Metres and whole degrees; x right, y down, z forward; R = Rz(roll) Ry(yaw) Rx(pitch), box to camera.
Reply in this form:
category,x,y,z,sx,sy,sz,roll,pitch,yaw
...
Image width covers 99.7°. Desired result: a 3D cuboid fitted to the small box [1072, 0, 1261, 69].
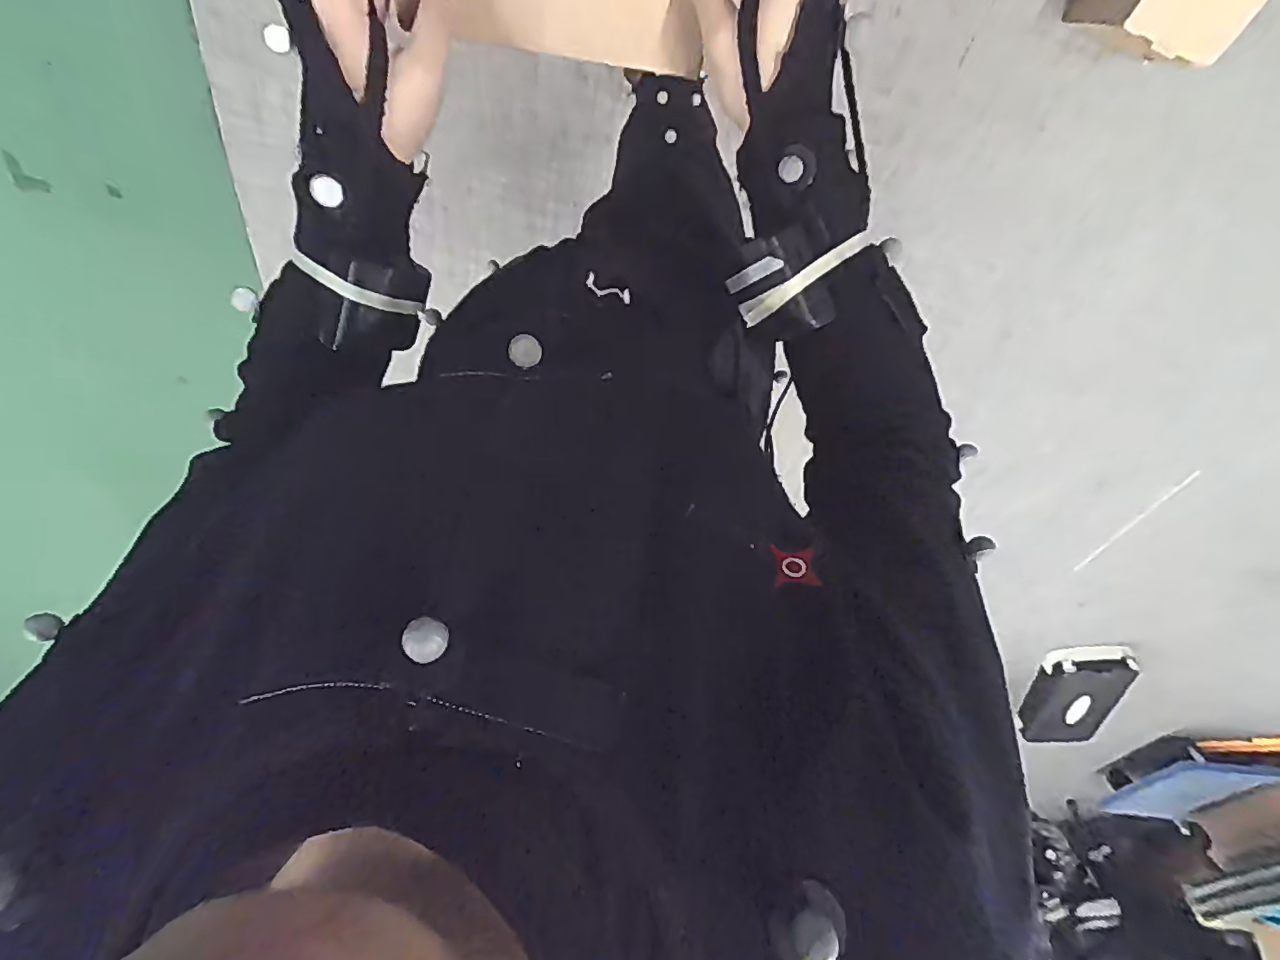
category,x,y,z,sx,sy,sz,roll,pitch,yaw
small box,0.795,-0.749,0.799,0.168,0.176,0.179,15,131,-11
